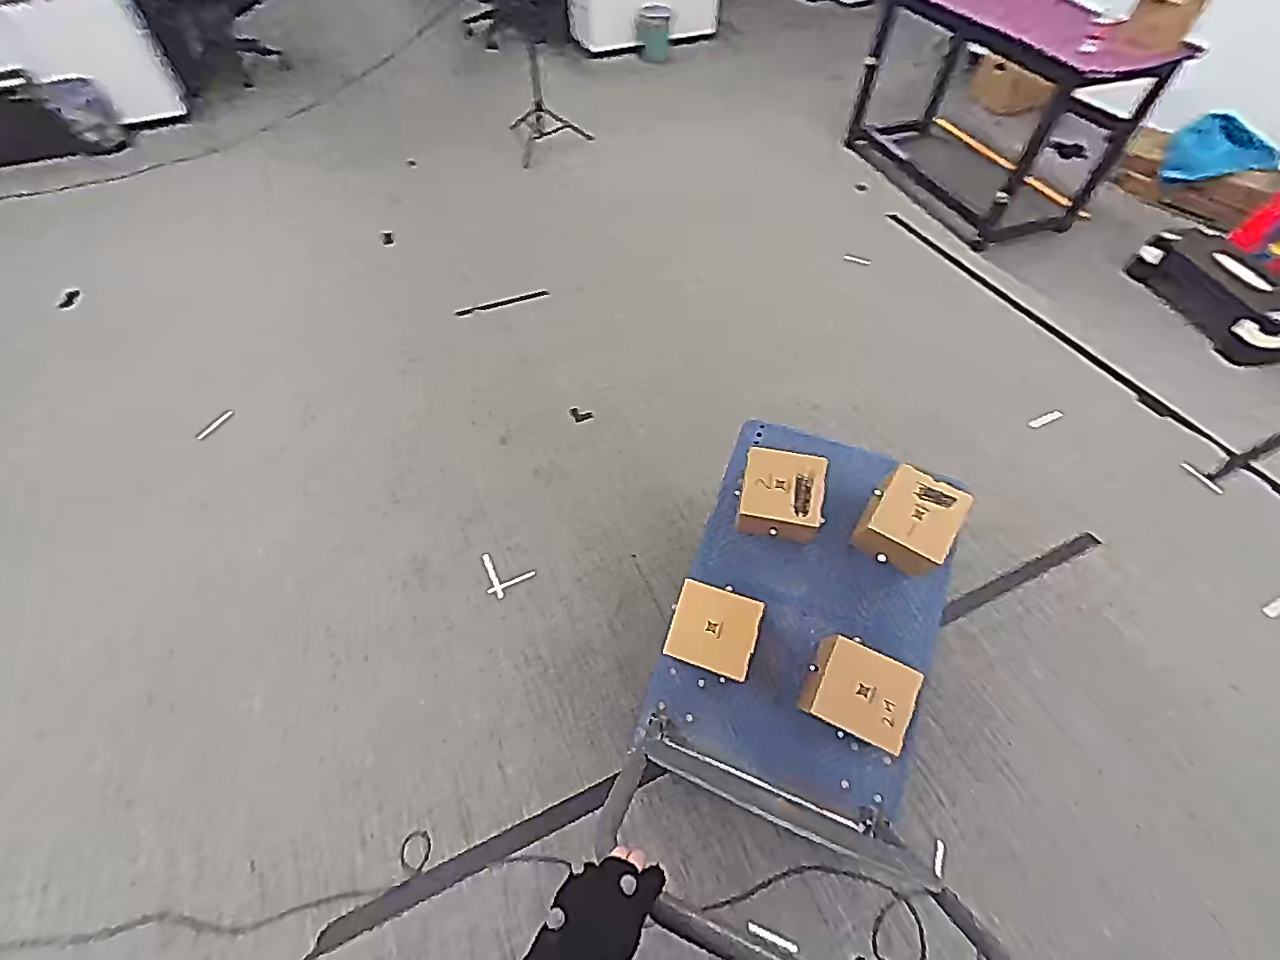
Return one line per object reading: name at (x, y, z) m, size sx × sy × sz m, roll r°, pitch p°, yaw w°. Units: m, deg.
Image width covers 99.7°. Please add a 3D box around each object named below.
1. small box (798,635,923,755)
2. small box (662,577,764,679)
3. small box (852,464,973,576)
small box at (0.448, 0.444, 1.130) m, size 0.179 × 0.176 × 0.168 m, roll 24°, pitch 75°, yaw 13°
small box at (0.159, 0.333, 1.199) m, size 0.179 × 0.176 × 0.168 m, roll 17°, pitch 73°, yaw 10°
small box at (0.611, 0.098, 1.237) m, size 0.168 × 0.176 × 0.179 m, roll 30°, pitch 77°, yaw 15°
